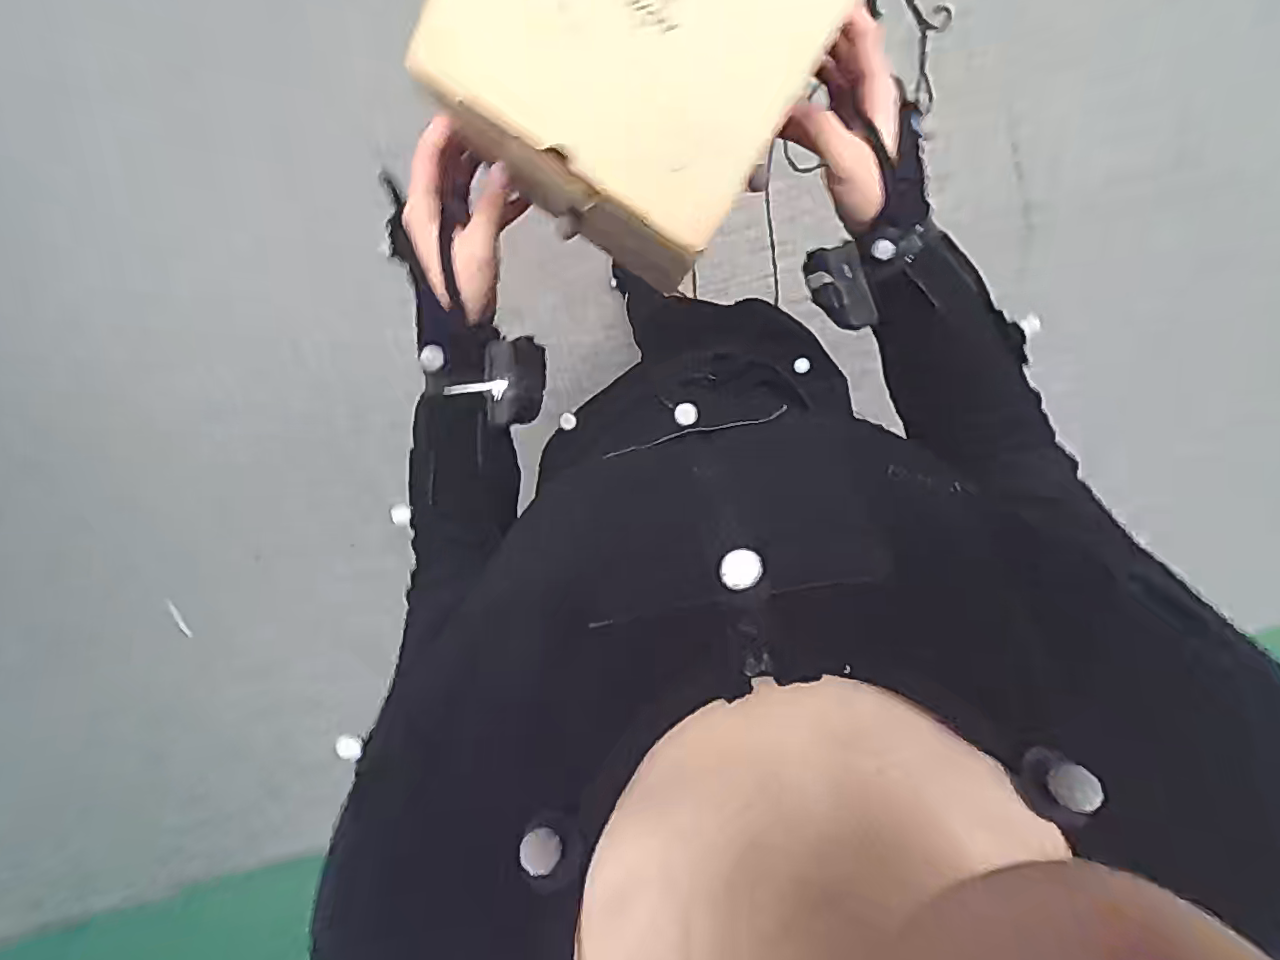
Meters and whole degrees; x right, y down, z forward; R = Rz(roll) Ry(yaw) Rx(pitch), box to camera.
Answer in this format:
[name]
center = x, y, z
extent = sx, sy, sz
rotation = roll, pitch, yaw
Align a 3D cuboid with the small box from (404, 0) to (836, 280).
[small box]
center = -0.002, -0.245, 0.330
extent = 0.168, 0.176, 0.179
rotation = 31, 101, -7
